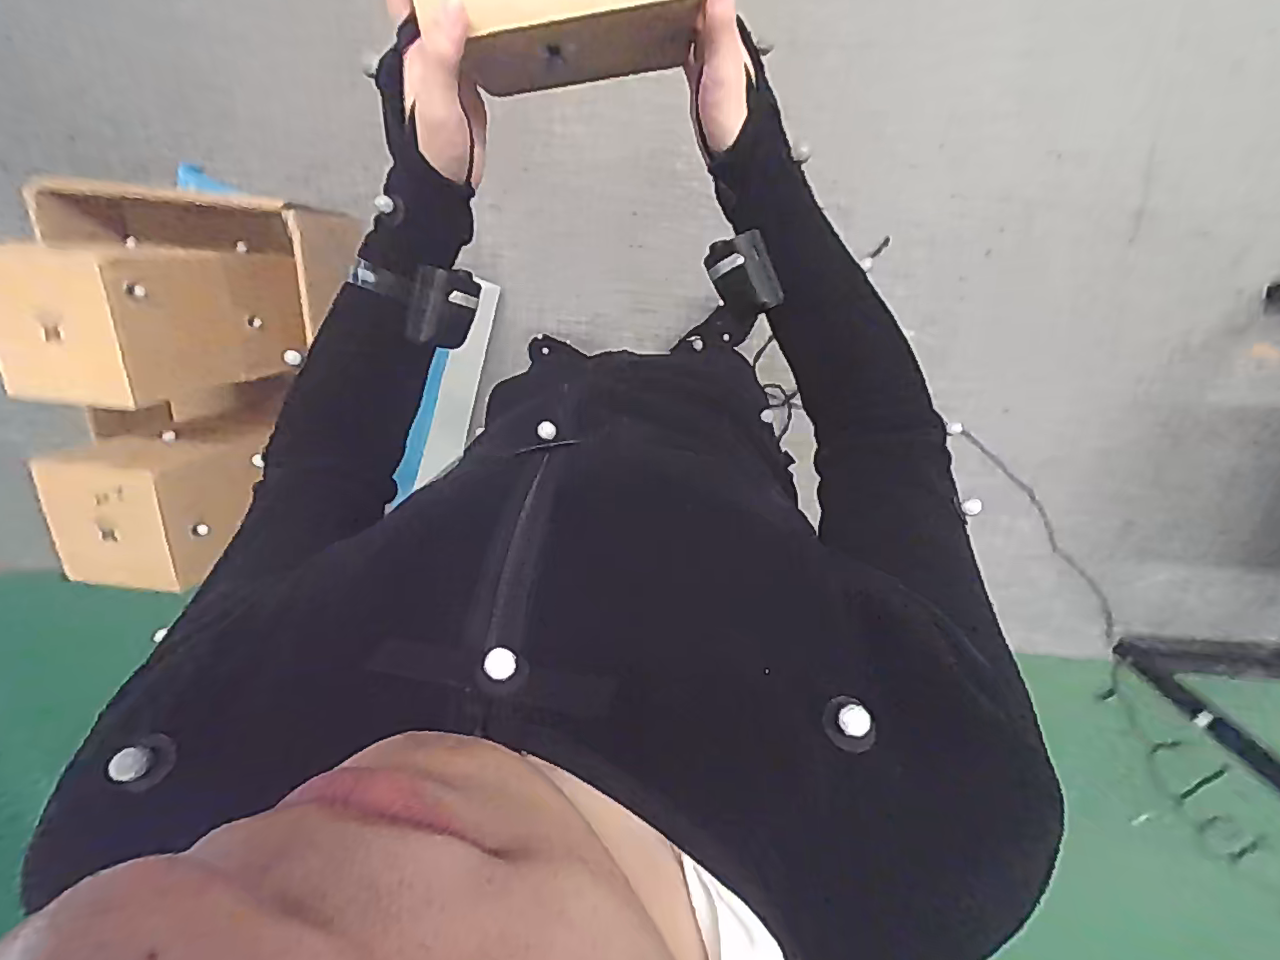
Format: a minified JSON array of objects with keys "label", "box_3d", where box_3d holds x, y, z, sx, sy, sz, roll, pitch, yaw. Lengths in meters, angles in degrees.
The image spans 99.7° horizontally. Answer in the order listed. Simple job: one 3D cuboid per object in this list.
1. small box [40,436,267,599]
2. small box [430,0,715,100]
[{"label":"small box","box_3d":[-0.683,0.046,0.786,0.168,0.176,0.179,6,109,3]},{"label":"small box","box_3d":[-0.043,-0.380,0.366,0.179,0.176,0.168,-6,115,5]}]
